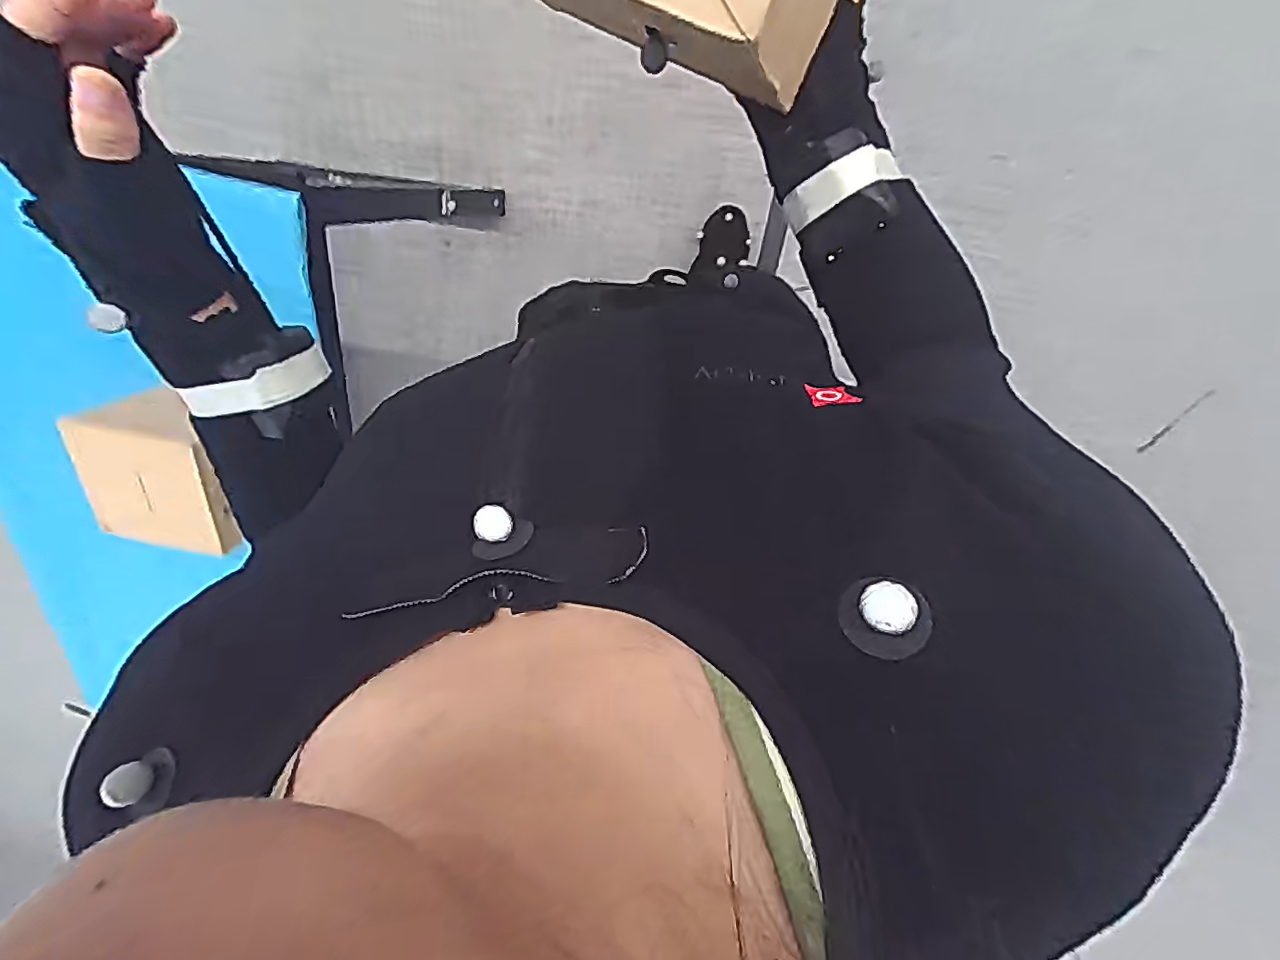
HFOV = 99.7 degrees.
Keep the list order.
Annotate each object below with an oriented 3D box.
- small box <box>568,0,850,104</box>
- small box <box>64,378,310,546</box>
[{"bbox_3d":[0.028,-0.305,0.240,0.179,0.176,0.168,29,120,6],"label":"small box"},{"bbox_3d":[-0.606,-0.027,0.747,0.179,0.176,0.168,10,118,4],"label":"small box"}]
